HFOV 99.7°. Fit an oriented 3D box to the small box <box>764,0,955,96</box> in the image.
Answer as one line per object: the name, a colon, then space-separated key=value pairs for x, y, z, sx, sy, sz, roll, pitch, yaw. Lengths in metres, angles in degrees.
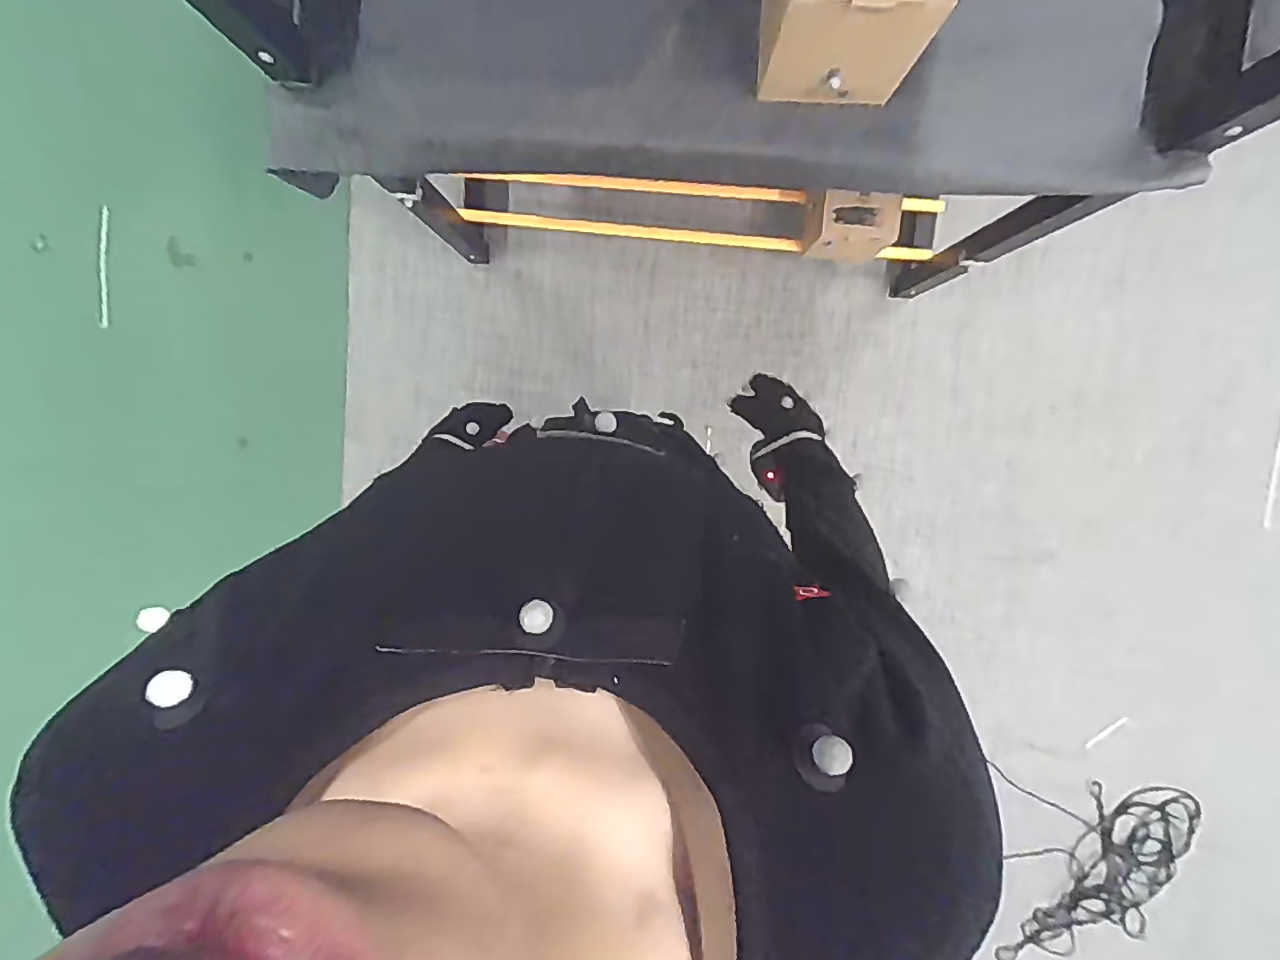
small box: x=0.239 y=-0.573 z=0.601 sx=0.168 sy=0.176 sz=0.179 roll=3 pitch=96 yaw=1
